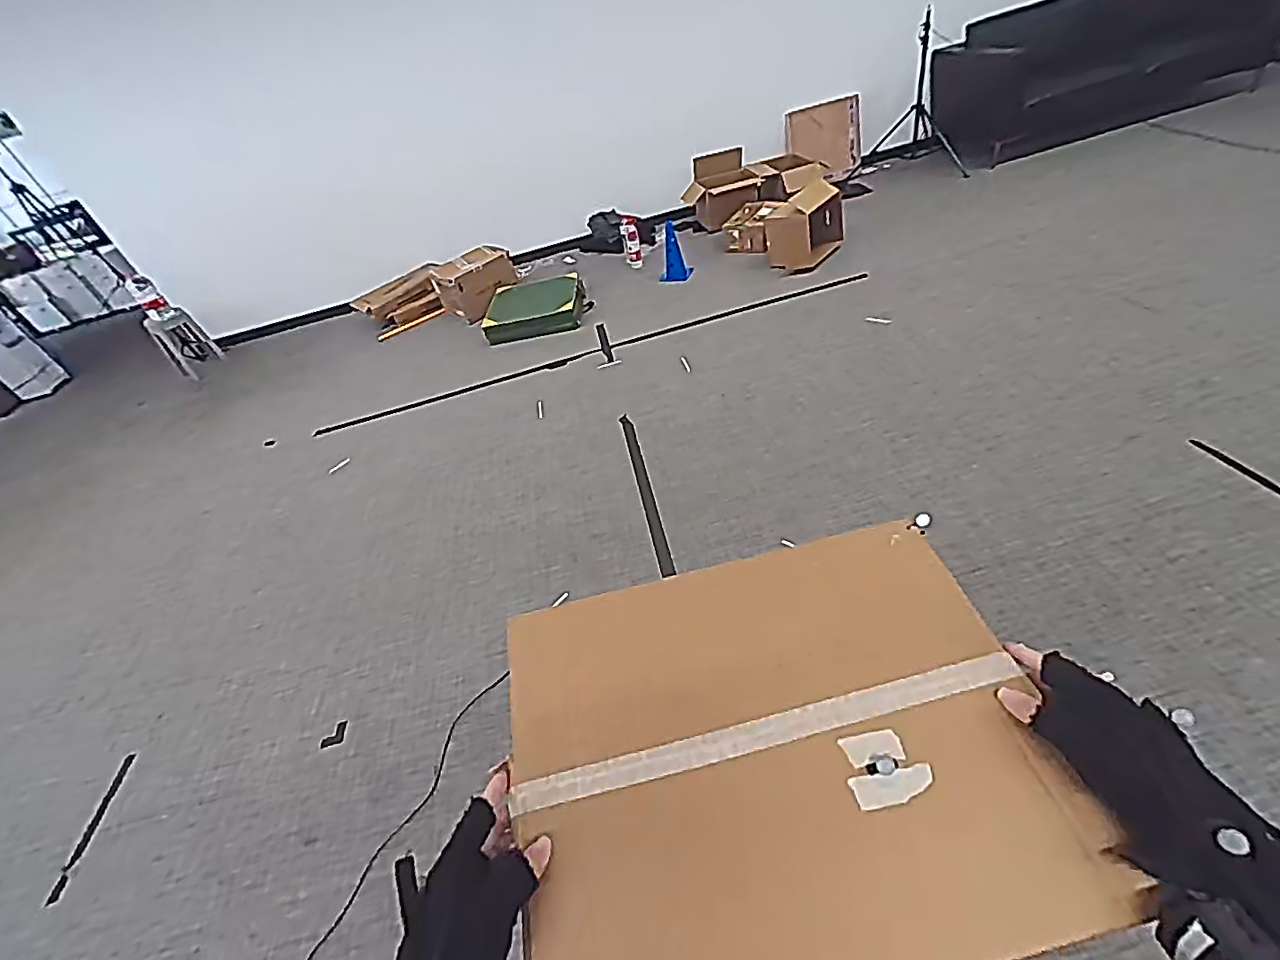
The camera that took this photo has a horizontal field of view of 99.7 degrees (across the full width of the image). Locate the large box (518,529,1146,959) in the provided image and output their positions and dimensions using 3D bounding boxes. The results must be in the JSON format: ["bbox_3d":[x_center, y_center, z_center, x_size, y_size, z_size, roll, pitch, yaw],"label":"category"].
[{"bbox_3d":[0.122,0.304,0.544,0.408,0.320,0.320,-14,48,-3],"label":"large box"}]
